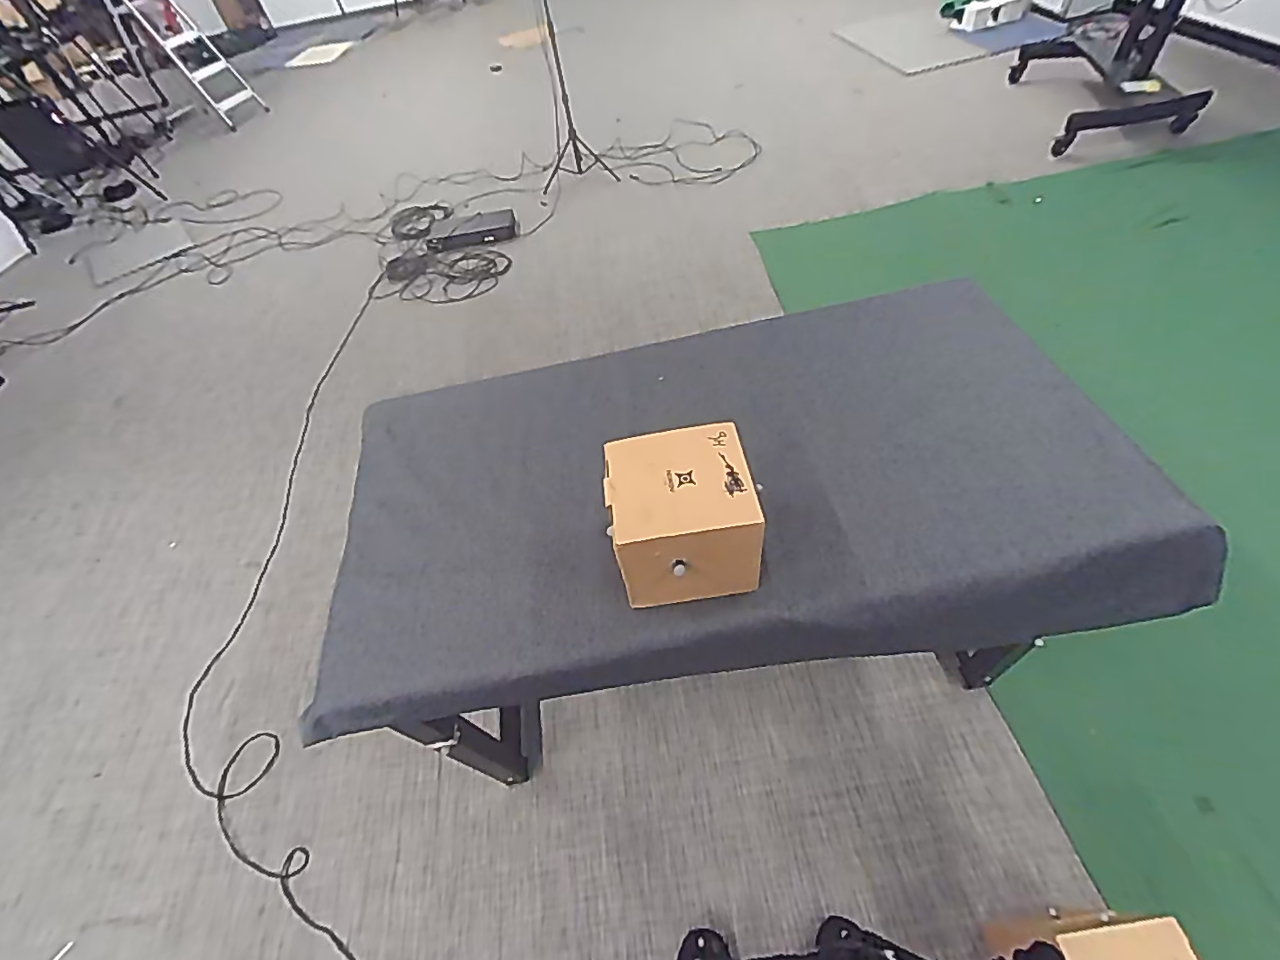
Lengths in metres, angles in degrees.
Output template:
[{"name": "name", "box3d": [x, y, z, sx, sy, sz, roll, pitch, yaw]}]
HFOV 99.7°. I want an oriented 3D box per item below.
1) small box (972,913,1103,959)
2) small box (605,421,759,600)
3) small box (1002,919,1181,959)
[{"name": "small box", "box3d": [0.720, 0.863, 0.930, 0.179, 0.176, 0.168, -12, 51, 1]}, {"name": "small box", "box3d": [0.056, 0.047, 0.729, 0.179, 0.176, 0.168, -8, 51, 2]}, {"name": "small box", "box3d": [0.689, 0.765, 0.800, 0.179, 0.176, 0.168, -10, 50, 2]}]
